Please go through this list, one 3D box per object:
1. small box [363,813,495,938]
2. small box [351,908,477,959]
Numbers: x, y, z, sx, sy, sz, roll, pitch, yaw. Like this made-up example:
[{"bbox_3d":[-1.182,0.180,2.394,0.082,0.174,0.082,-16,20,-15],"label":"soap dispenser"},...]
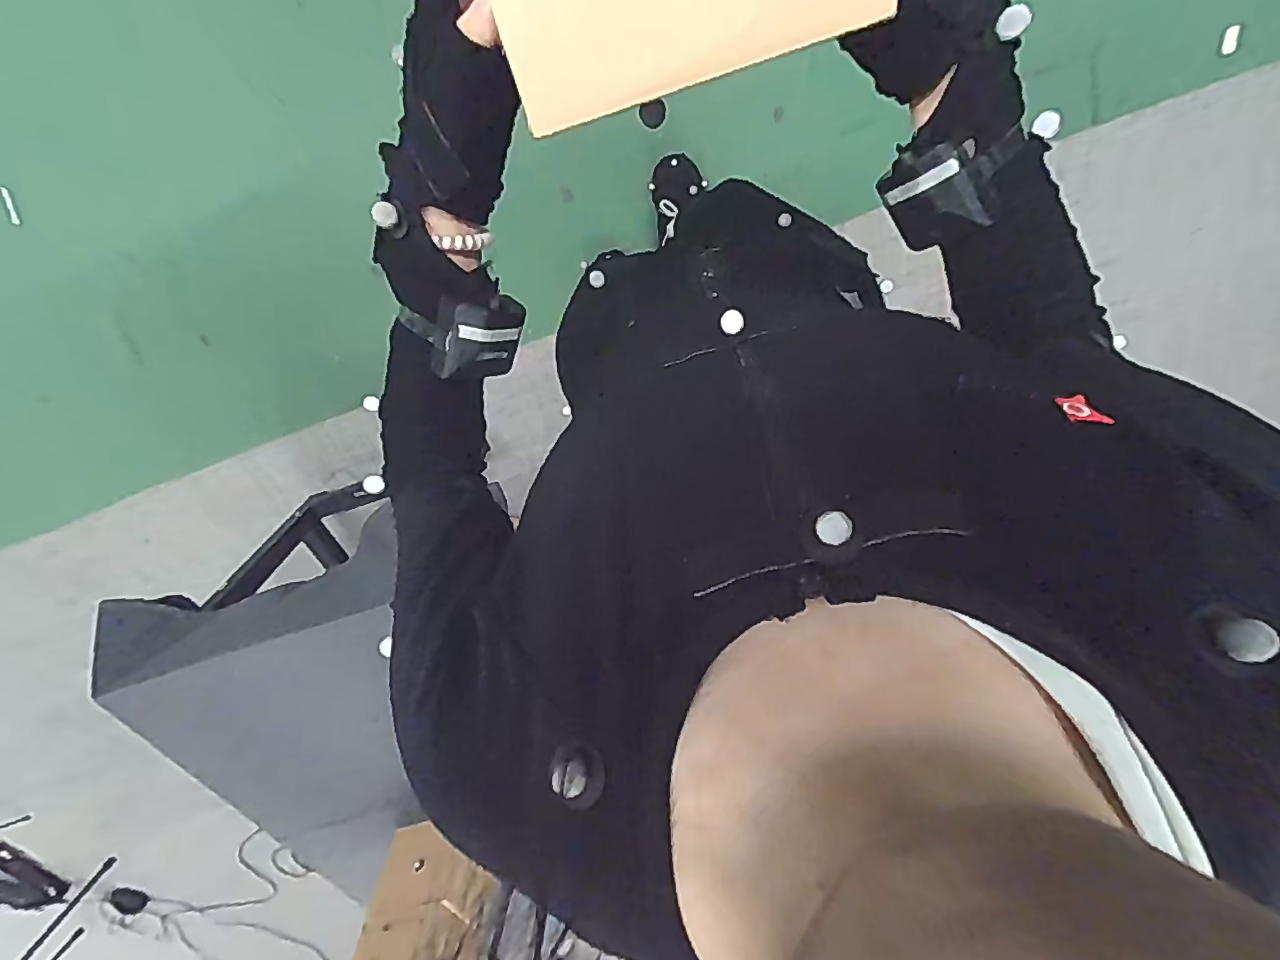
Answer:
[{"bbox_3d":[-0.428,0.837,1.130,0.179,0.176,0.168,-18,118,7],"label":"small box"},{"bbox_3d":[-0.425,0.919,0.990,0.168,0.176,0.179,-19,118,10],"label":"small box"}]
